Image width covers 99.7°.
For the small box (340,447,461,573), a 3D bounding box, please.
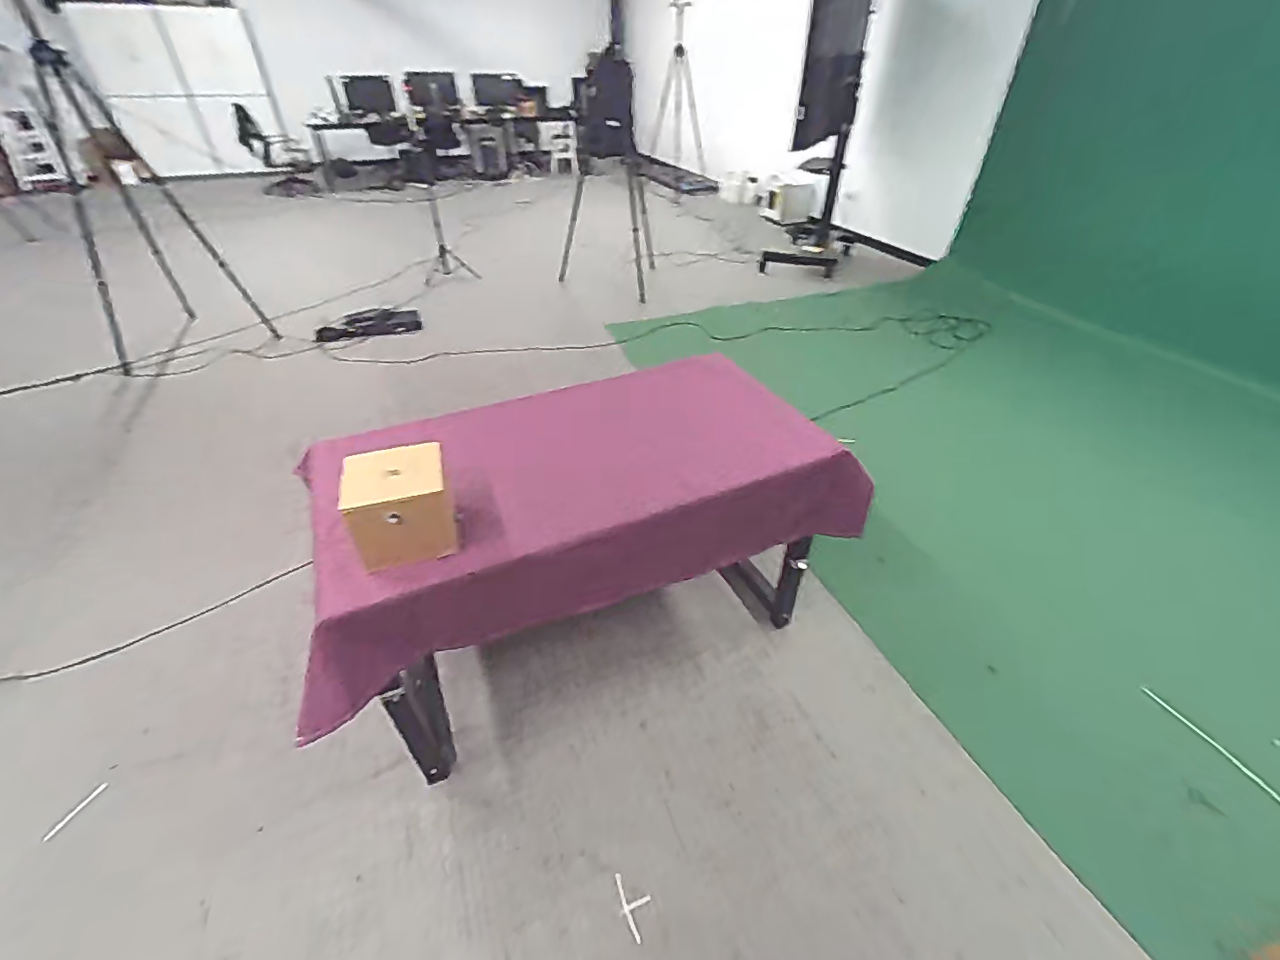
[{"bbox_3d":[-0.461,0.060,1.061,0.179,0.176,0.168,-11,40,-15],"label":"small box"}]
